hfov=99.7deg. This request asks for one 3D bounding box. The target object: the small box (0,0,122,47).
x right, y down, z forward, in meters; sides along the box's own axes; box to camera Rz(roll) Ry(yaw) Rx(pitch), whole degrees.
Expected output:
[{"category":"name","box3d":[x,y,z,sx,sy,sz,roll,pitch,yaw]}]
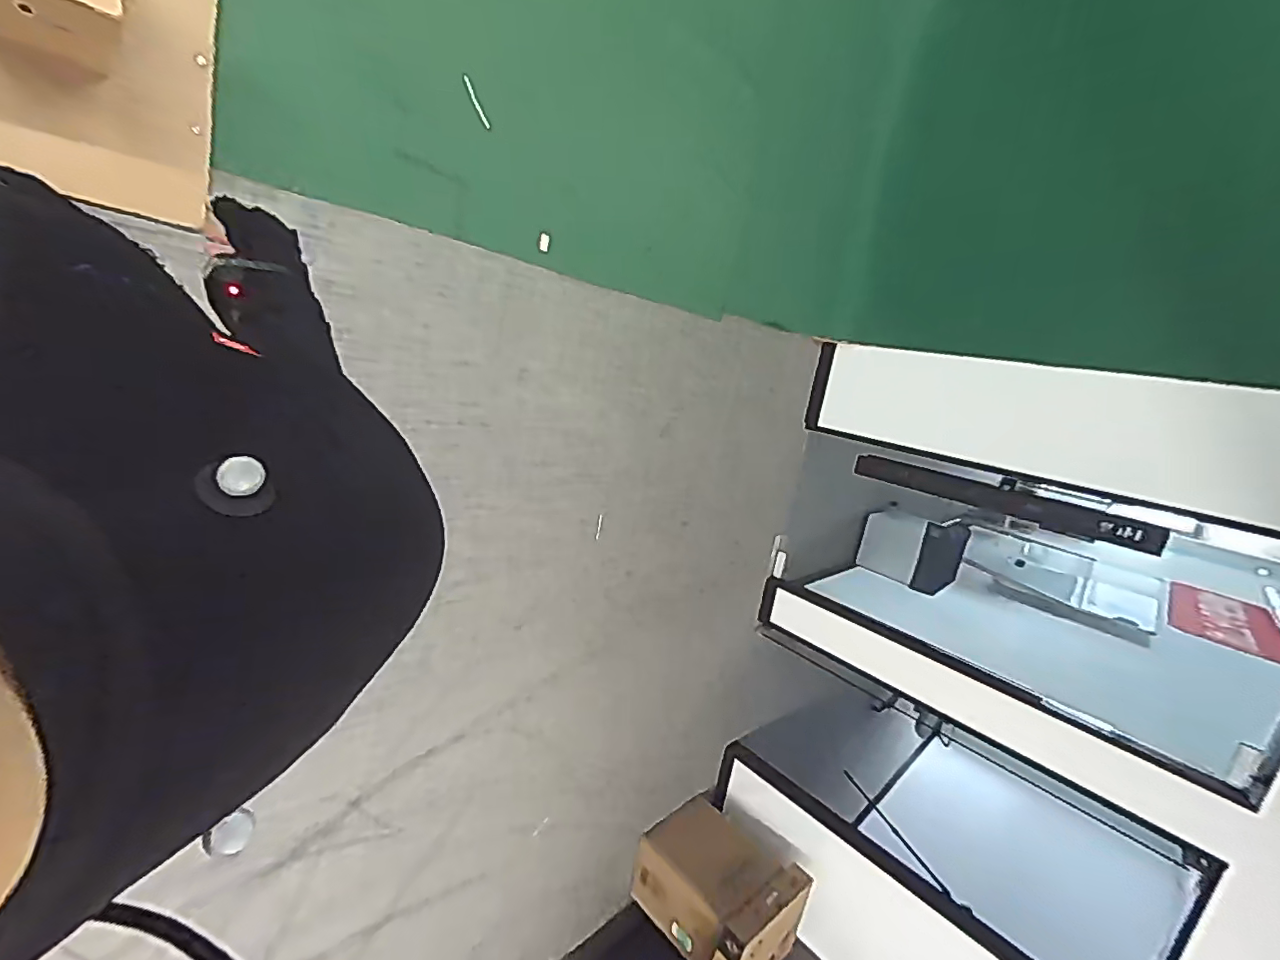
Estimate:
[{"category":"small box","box3d":[-0.803,-0.725,0.711,0.168,0.176,0.179,-4,109,-45]}]
